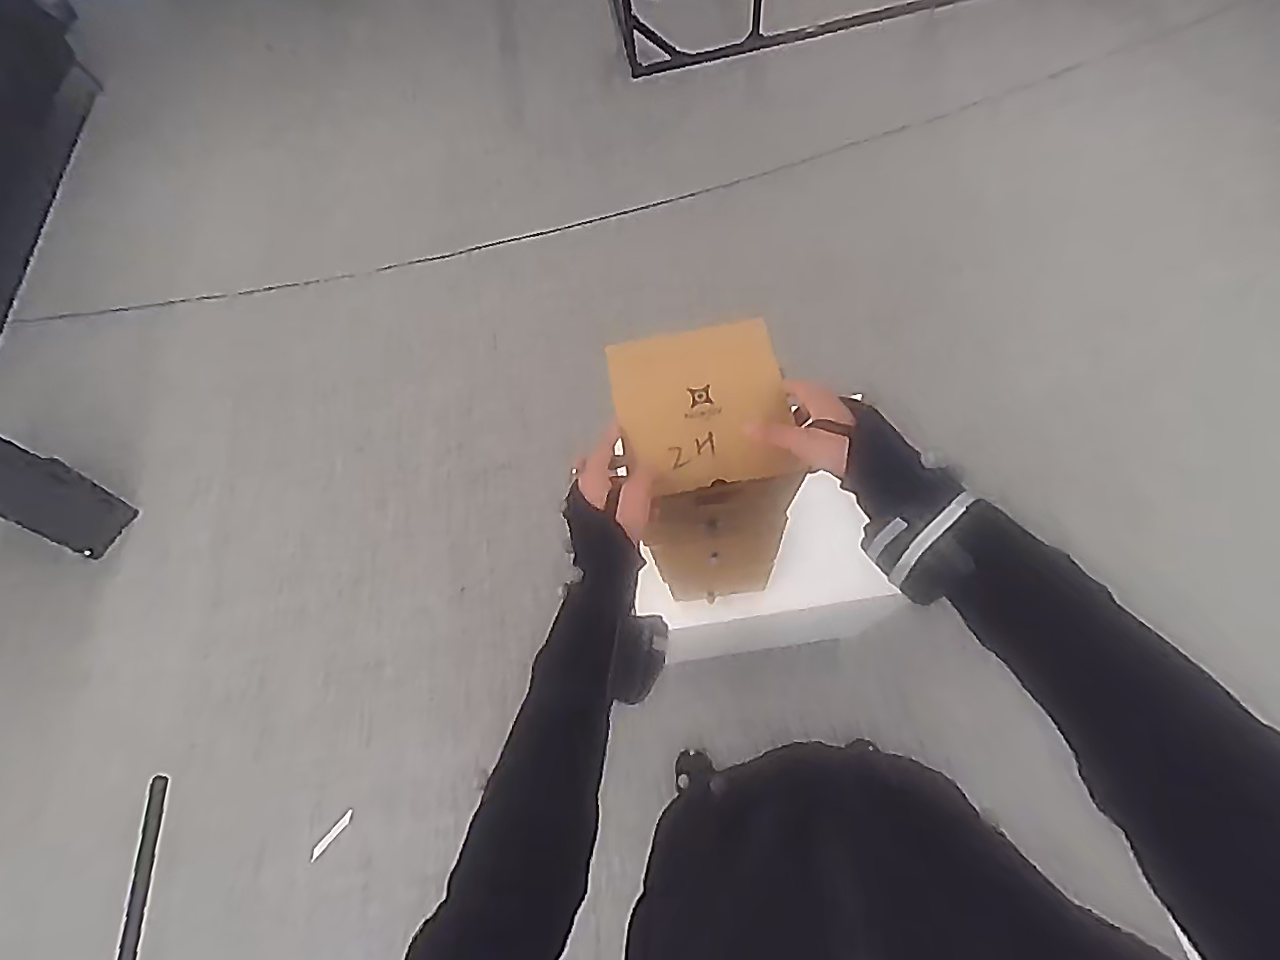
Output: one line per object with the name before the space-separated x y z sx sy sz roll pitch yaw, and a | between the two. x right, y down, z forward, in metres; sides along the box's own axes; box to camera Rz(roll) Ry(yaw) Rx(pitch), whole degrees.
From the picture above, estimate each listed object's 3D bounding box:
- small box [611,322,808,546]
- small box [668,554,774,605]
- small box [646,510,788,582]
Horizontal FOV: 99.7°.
small box | 0.066 -0.041 0.593 0.168 0.176 0.179 -10 69 1
small box | 0.120 0.098 0.911 0.168 0.176 0.179 -9 65 4
small box | 0.093 0.032 0.763 0.179 0.176 0.168 -14 64 4
